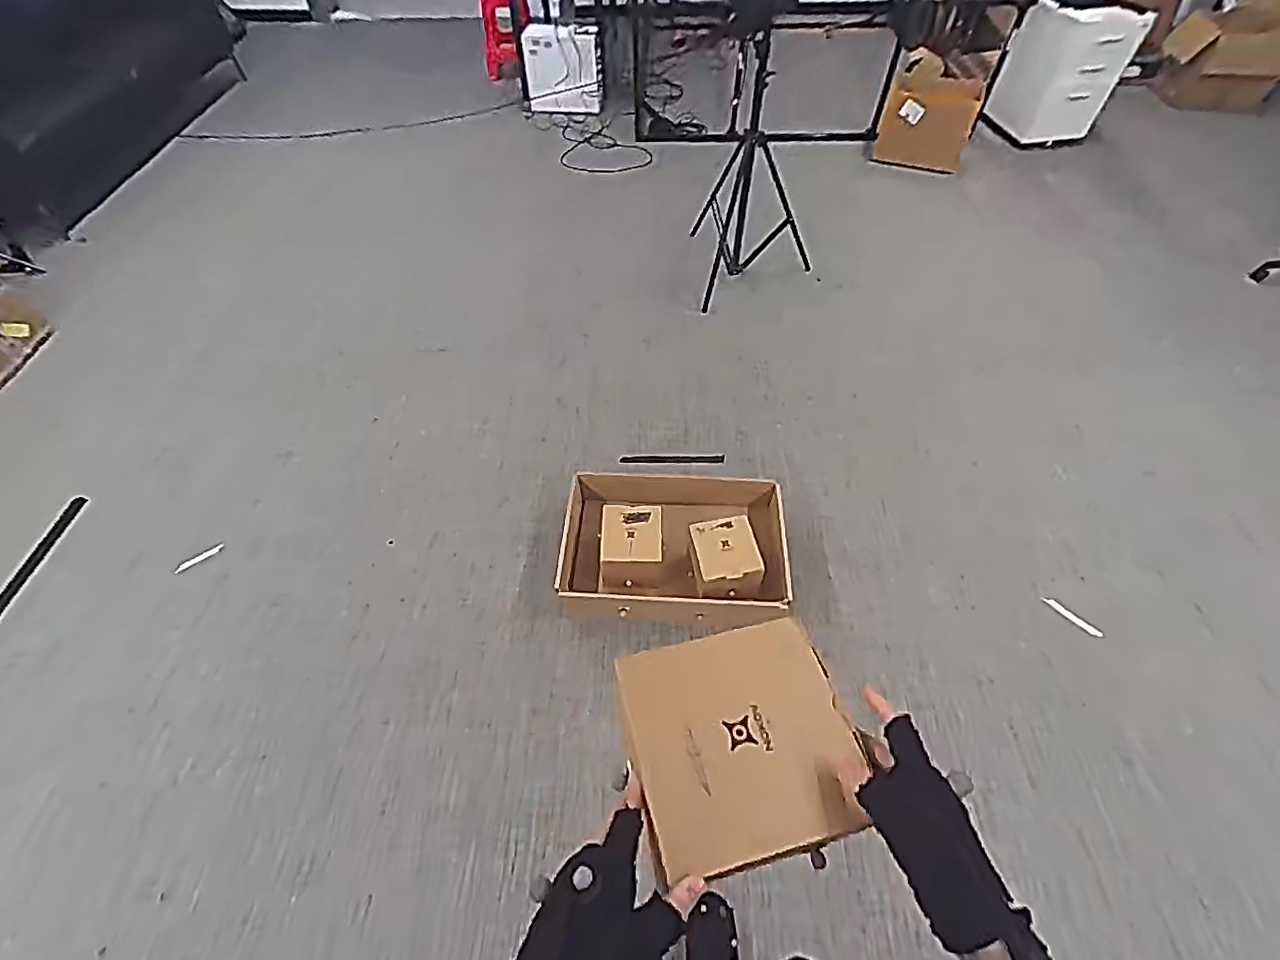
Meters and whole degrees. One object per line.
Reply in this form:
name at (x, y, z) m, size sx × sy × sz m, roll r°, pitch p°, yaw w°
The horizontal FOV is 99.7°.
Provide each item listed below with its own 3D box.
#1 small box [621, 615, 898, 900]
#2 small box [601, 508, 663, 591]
small box at (0.084, 0.249, 0.487) m, size 0.179 × 0.176 × 0.168 m, roll -11°, pitch 49°, yaw -11°
small box at (-0.021, 0.198, 1.535) m, size 0.168 × 0.176 × 0.179 m, roll 1°, pitch 54°, yaw 1°
